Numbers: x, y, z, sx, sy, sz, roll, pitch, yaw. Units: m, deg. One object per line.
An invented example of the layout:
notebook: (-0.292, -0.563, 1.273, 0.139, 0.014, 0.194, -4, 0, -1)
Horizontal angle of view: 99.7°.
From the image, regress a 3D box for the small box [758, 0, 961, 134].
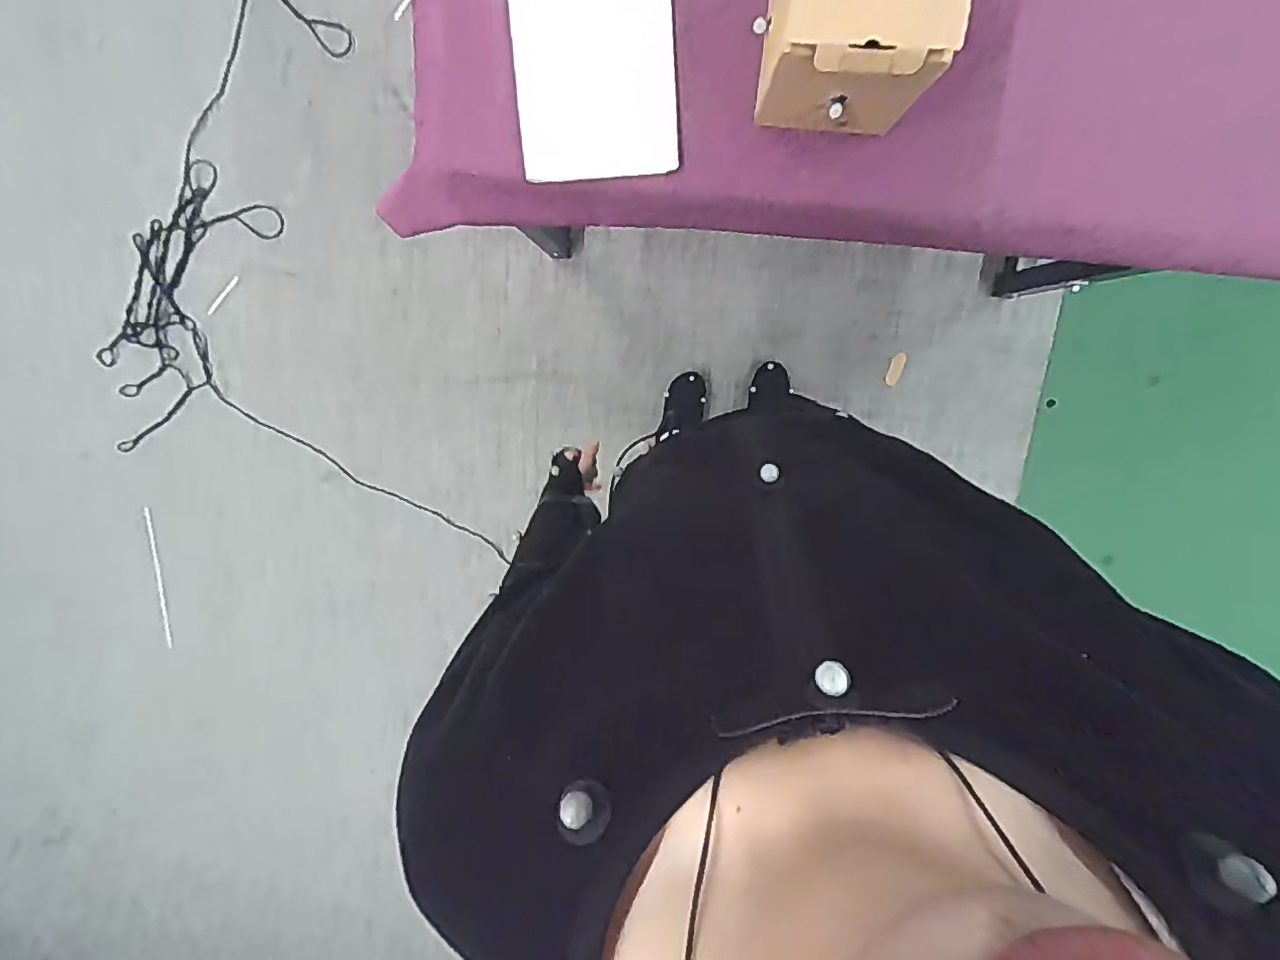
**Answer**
small box: (0.228, -0.502, 0.580, 0.168, 0.176, 0.179, 6, 103, 2)
